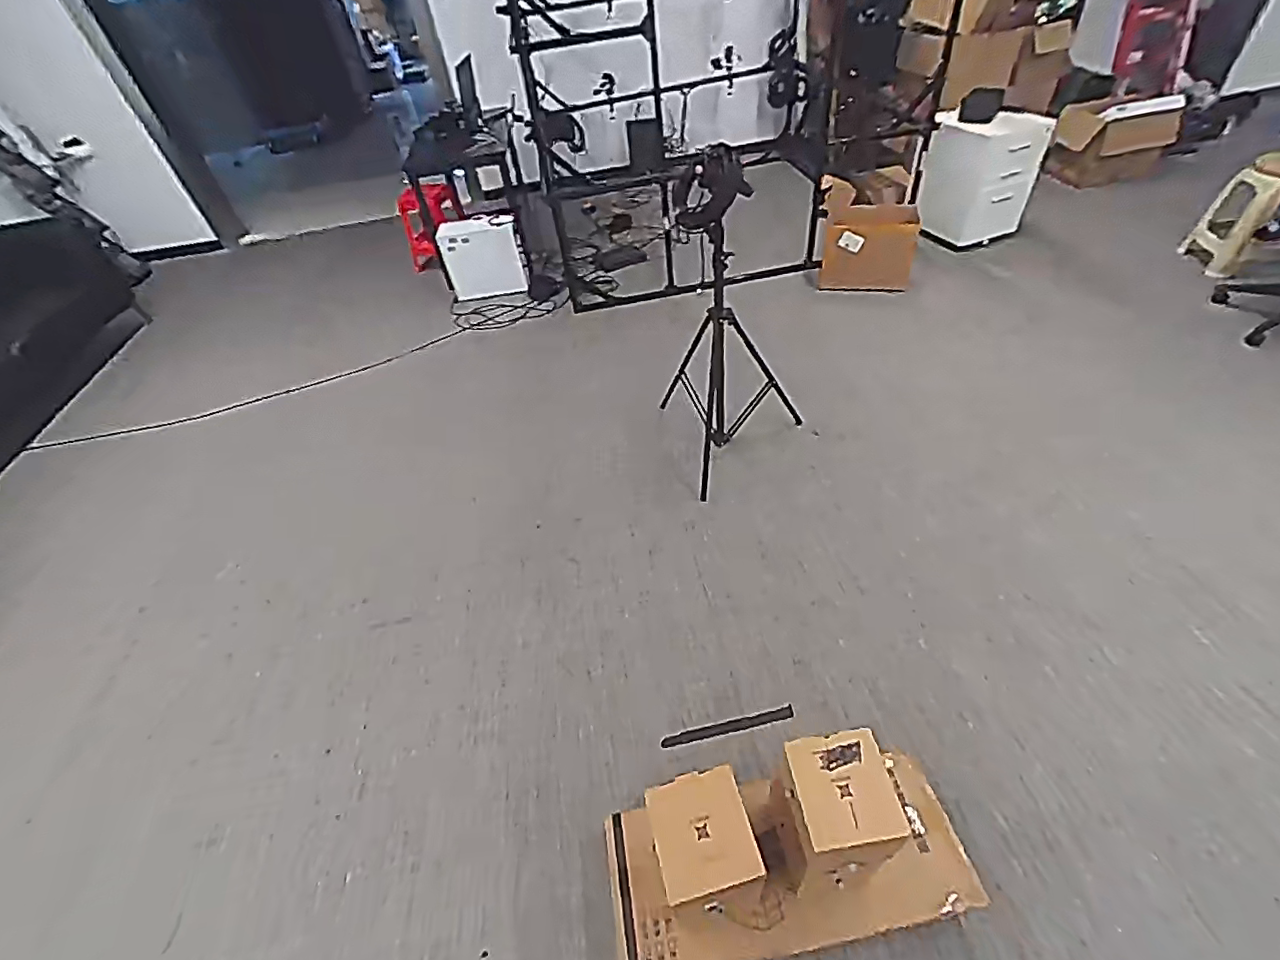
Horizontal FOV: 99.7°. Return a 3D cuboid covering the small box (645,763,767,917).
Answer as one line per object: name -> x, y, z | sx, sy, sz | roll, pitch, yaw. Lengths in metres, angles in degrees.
small box -> 0.114, 0.650, 0.975 | 0.168, 0.176, 0.179 | -15, 45, -6

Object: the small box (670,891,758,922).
small box -> 0.132, 0.763, 1.091 | 0.168, 0.176, 0.179 | -13, 45, -4

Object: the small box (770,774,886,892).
small box -> 0.373, 0.708, 1.108 | 0.168, 0.176, 0.179 | -13, 44, -2

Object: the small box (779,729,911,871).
small box -> 0.362, 0.589, 0.996 | 0.168, 0.176, 0.179 | -10, 44, 0
